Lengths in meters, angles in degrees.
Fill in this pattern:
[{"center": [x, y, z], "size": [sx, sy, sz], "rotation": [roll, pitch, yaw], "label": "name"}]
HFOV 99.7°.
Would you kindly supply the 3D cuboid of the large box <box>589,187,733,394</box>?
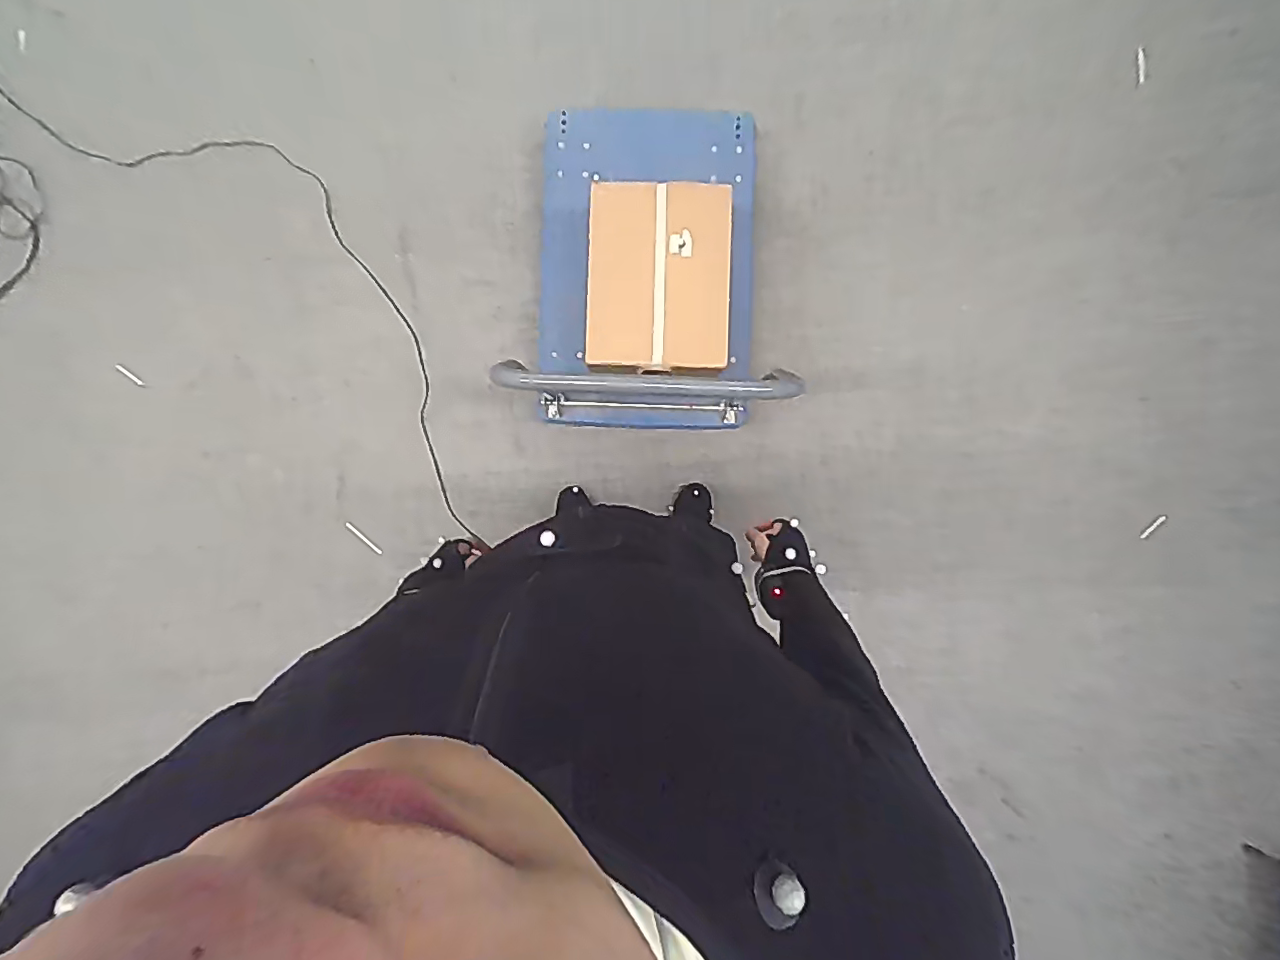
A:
[{"center": [0.047, -0.434, 1.322], "size": [0.320, 0.320, 0.408], "rotation": [2, 88, -1], "label": "large box"}]
